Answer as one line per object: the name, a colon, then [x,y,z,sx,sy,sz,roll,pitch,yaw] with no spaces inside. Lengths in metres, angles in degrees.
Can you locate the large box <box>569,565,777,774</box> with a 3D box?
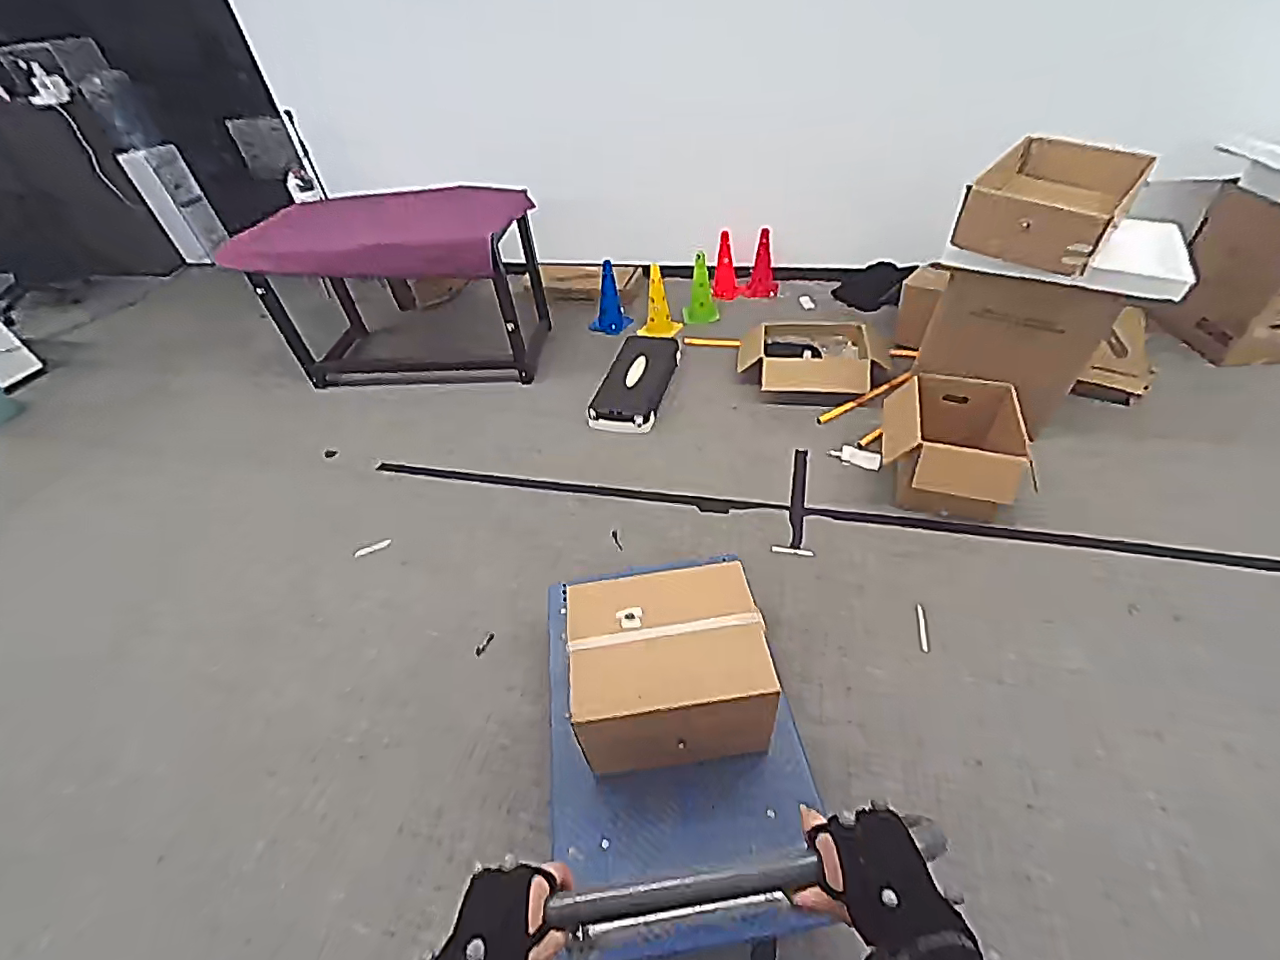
large box: [0.069,0.439,1.251,0.408,0.320,0.320,-10,43,-1]
